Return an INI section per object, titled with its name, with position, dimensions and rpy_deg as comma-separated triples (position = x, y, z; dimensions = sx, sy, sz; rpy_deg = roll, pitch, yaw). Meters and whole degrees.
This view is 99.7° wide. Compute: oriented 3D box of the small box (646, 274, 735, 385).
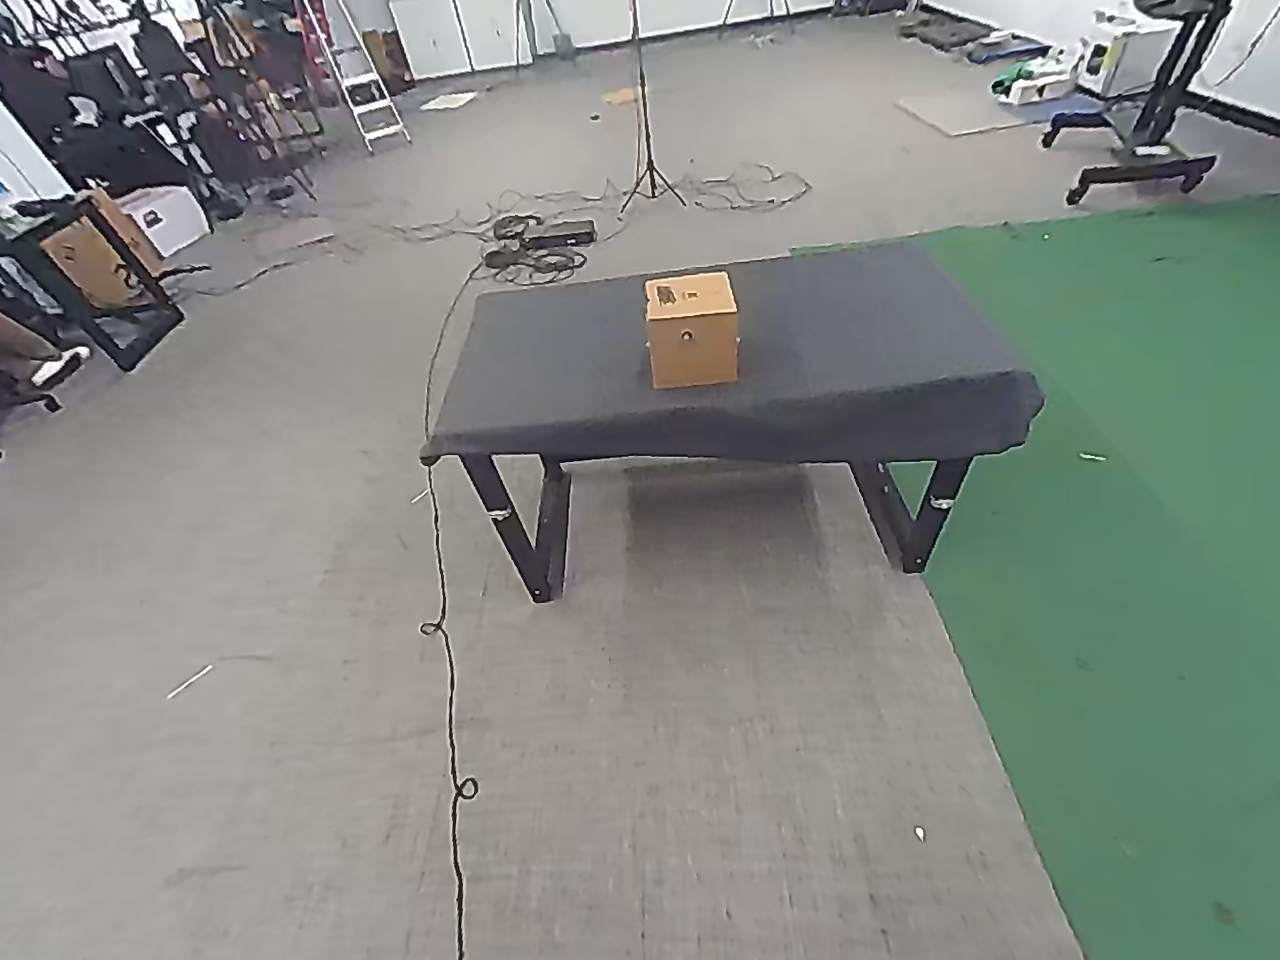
[small box]
position = 0.108, -0.317, 1.158
dimensions = 0.179, 0.176, 0.168
rpy_deg = -5, 46, 4
